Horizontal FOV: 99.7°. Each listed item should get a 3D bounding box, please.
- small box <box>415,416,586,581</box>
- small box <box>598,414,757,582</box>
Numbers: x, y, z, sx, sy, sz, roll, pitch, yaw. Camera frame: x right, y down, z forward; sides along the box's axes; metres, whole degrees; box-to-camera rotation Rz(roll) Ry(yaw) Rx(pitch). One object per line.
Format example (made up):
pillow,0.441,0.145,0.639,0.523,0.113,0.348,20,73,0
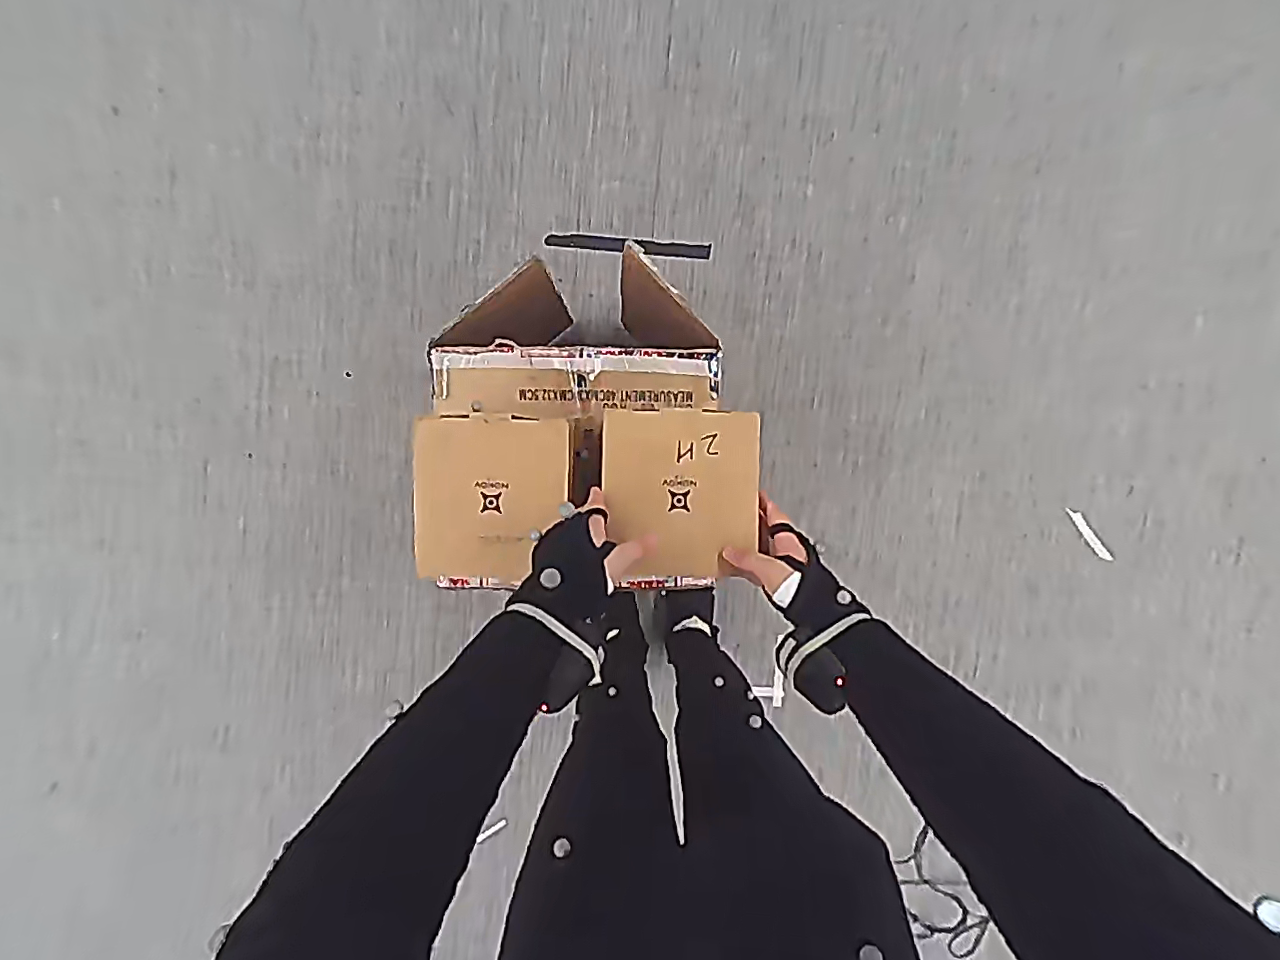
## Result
small box,-0.157,0.012,0.656,0.168,0.176,0.179,1,98,1
small box,0.041,0.019,0.648,0.168,0.176,0.179,1,89,0
